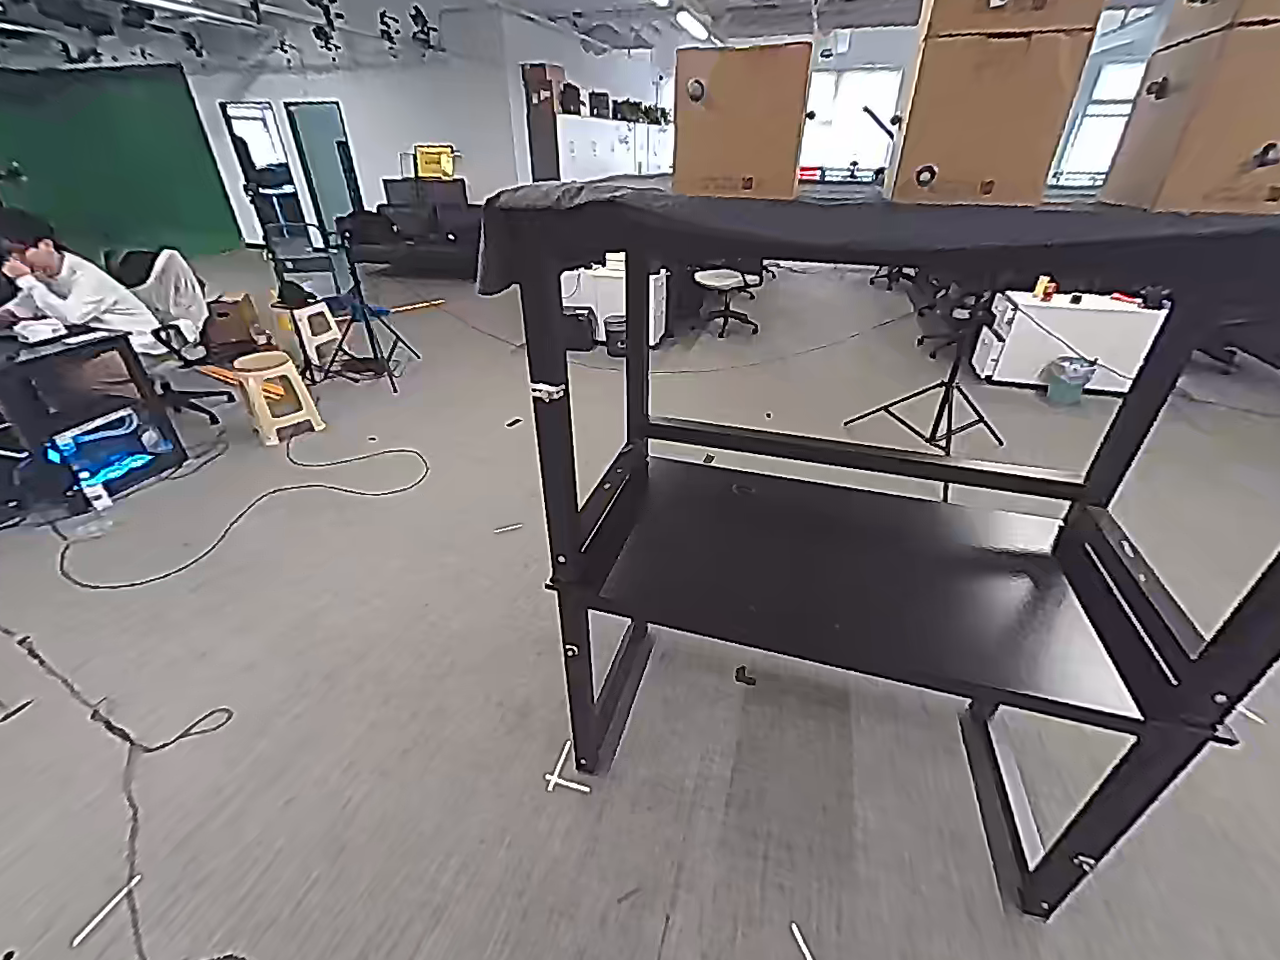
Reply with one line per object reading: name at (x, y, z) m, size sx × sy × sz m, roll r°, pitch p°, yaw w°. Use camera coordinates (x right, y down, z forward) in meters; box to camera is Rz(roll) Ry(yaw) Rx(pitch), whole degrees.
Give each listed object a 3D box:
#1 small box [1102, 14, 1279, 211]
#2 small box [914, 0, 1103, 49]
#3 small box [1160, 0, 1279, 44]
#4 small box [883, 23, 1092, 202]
small box at (0.681, -0.409, 0.618) m, size 0.168 × 0.176 × 0.179 m, roll 9°, pitch 32°, yaw 17°
small box at (0.421, -0.592, 0.608) m, size 0.168 × 0.176 × 0.179 m, roll 9°, pitch 32°, yaw 16°
small box at (0.682, -0.550, 0.535) m, size 0.168 × 0.176 × 0.179 m, roll 10°, pitch 33°, yaw 17°
small box at (0.418, -0.451, 0.688) m, size 0.168 × 0.176 × 0.179 m, roll 9°, pitch 30°, yaw 15°
